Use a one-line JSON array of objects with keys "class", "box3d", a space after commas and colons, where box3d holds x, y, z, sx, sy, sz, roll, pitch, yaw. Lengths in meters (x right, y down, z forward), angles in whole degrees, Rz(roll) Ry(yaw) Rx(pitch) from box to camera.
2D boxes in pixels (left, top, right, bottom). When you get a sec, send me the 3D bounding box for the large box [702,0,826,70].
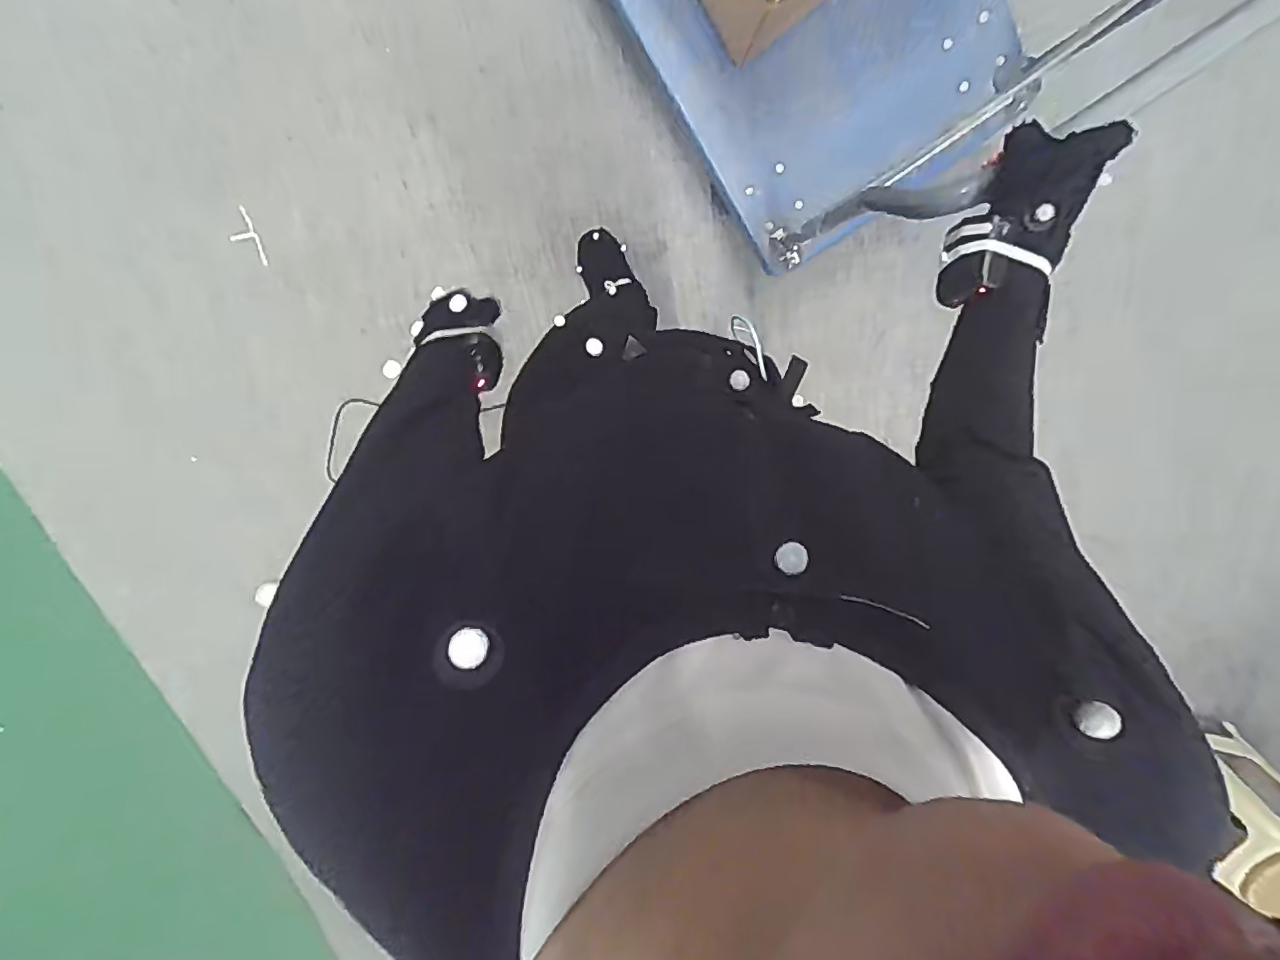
[{"class": "large box", "box3d": [0.261, -0.936, 0.798, 0.408, 0.320, 0.320, -35, 107, 14]}]
